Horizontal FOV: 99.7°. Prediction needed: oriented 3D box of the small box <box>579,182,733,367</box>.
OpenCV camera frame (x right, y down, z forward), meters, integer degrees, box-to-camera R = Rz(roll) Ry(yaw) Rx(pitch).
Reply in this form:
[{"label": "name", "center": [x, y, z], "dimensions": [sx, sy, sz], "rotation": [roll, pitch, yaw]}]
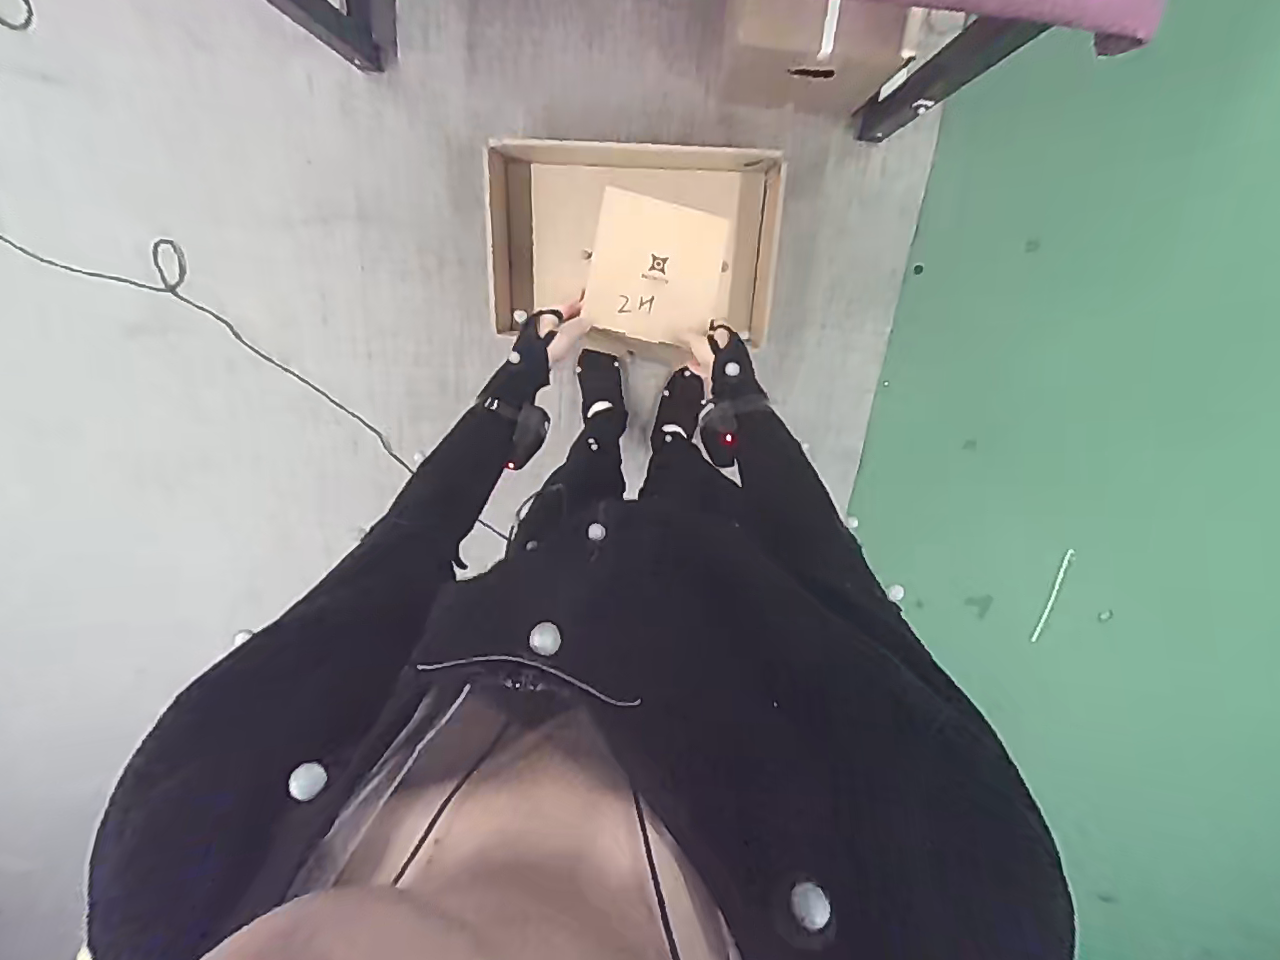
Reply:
[{"label": "small box", "center": [0.011, -0.269, 0.752], "dimensions": [0.168, 0.176, 0.179], "rotation": [12, 92, -8]}]
